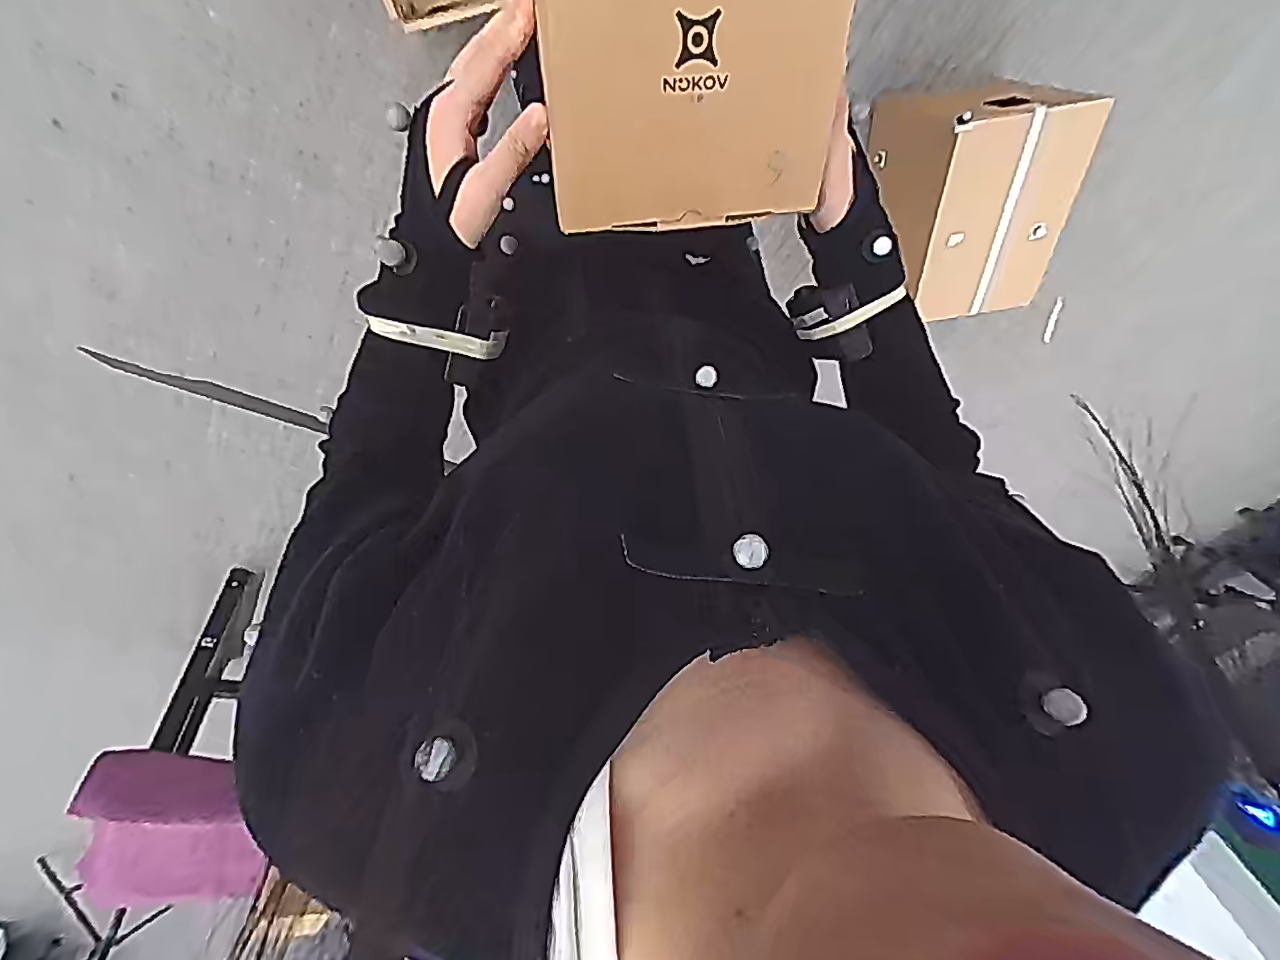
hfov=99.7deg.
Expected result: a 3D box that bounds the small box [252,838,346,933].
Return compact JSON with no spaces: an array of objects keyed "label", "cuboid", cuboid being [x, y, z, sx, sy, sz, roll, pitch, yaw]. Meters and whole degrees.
[{"label":"small box","cuboid":[-0.922,1.099,1.474,0.168,0.176,0.179,20,124,-28]}]
